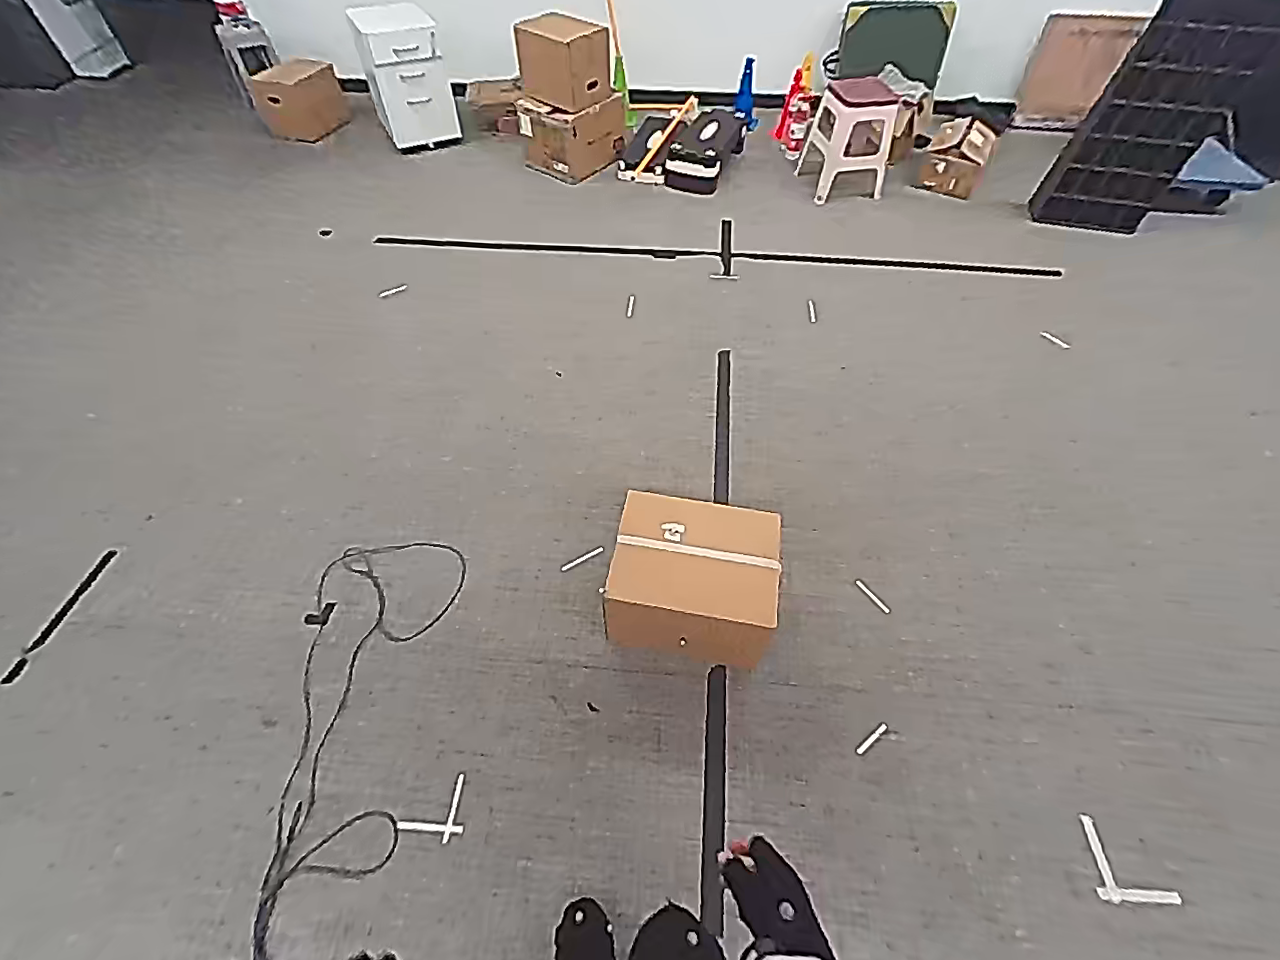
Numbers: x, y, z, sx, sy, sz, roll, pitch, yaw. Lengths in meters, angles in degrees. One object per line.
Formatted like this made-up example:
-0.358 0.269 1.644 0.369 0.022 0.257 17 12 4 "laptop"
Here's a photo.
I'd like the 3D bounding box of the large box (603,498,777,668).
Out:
0.136 0.281 1.450 0.408 0.320 0.320 9 53 6 "large box"
